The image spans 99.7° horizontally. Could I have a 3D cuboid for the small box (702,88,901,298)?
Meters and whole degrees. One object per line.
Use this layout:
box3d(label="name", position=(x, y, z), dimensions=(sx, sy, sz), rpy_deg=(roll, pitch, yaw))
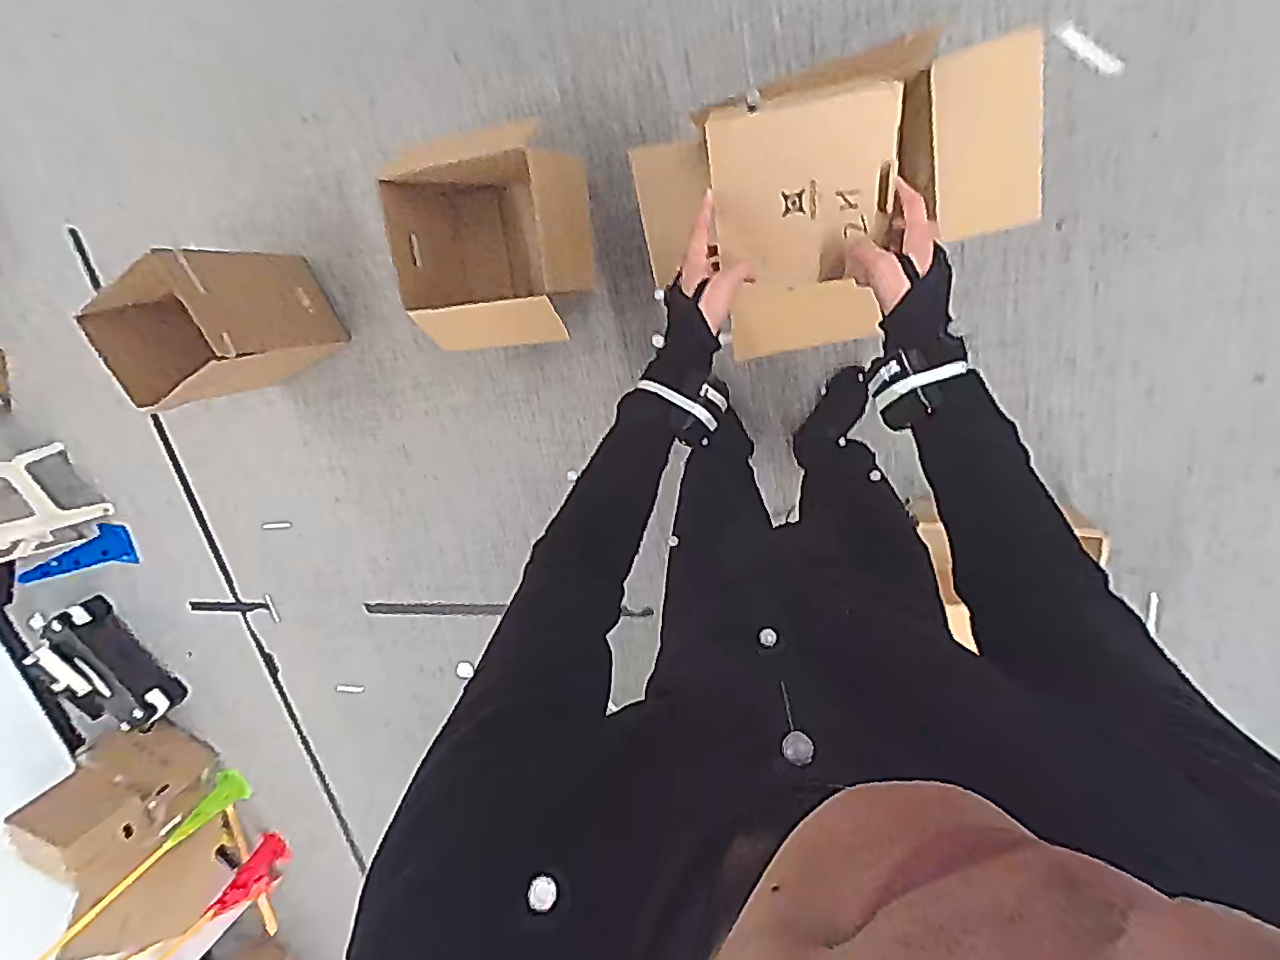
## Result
box3d(label="small box", position=(0.166, -0.316, 0.596), dimensions=(0.179, 0.176, 0.168), rpy_deg=(-4, 126, 11))
